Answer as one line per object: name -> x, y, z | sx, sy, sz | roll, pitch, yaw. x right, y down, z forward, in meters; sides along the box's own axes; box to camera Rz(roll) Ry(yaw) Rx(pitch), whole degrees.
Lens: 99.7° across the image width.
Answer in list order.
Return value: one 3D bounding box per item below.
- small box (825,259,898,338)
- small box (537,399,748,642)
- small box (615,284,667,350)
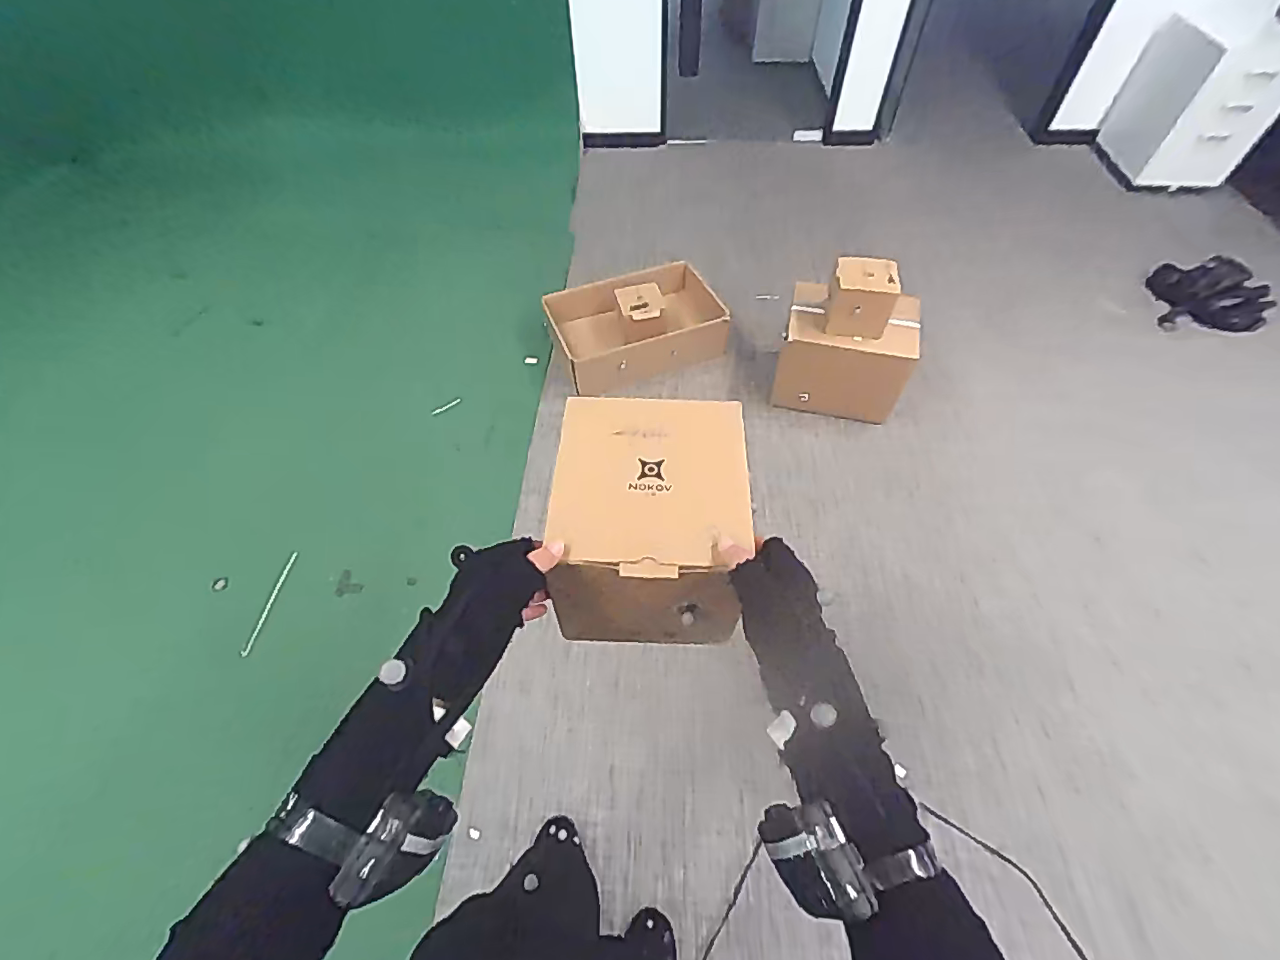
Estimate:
small box -> 0.677, -0.560, 1.676 | 0.179, 0.176, 0.168 | 7, 56, 7
small box -> 0.006, 0.044, 0.523 | 0.168, 0.176, 0.179 | 3, 52, 0
small box -> 0.006, -0.613, 2.056 | 0.168, 0.176, 0.179 | -12, 53, -6
